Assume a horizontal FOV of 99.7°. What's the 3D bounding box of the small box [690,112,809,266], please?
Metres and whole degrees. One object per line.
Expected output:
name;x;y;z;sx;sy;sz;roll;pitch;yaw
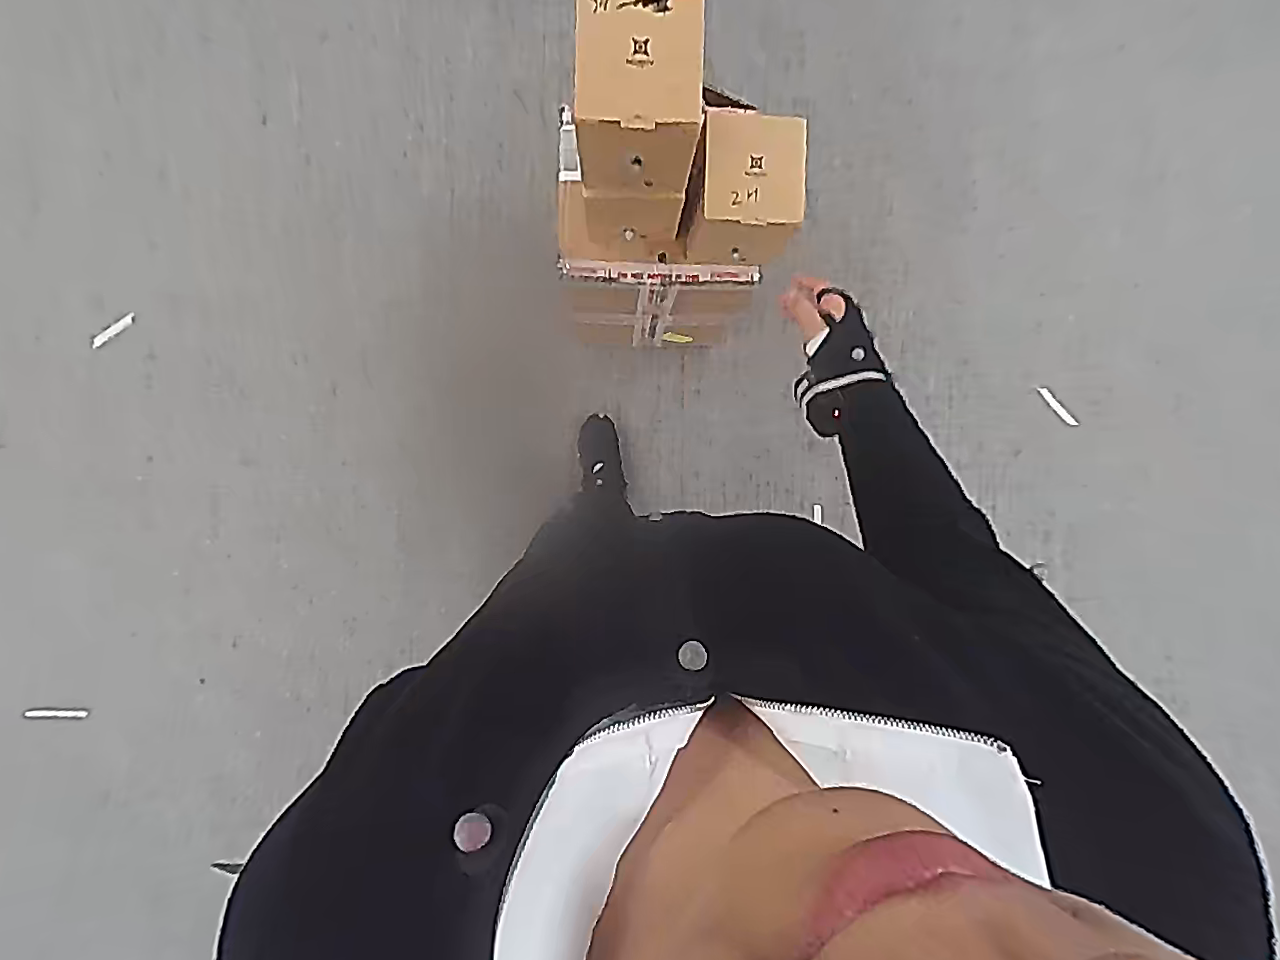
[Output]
small box;0.183;-0.497;0.945;0.168;0.176;0.179;1;91;-4

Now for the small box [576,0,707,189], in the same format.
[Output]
small box;0.001;-0.541;0.772;0.168;0.176;0.179;1;92;-2

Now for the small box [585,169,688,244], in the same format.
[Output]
small box;-0.008;-0.531;0.936;0.168;0.176;0.179;-1;92;-1
